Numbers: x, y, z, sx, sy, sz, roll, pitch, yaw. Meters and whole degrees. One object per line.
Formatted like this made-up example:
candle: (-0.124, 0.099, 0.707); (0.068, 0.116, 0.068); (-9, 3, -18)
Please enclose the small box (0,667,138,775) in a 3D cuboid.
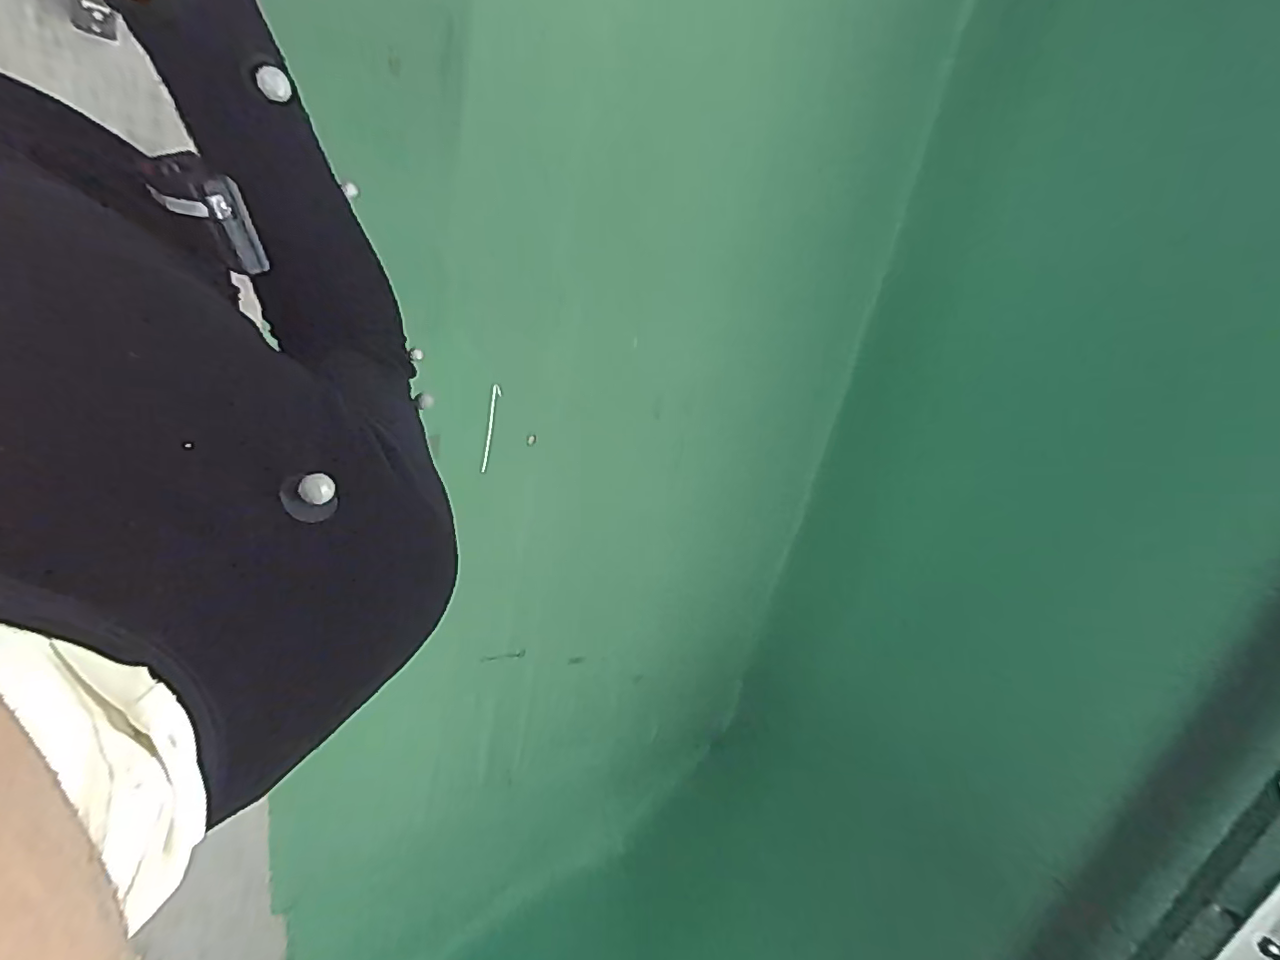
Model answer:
small box: (-1.375, 0.580, 1.311); (0.168, 0.176, 0.179); (-54, 138, -8)
